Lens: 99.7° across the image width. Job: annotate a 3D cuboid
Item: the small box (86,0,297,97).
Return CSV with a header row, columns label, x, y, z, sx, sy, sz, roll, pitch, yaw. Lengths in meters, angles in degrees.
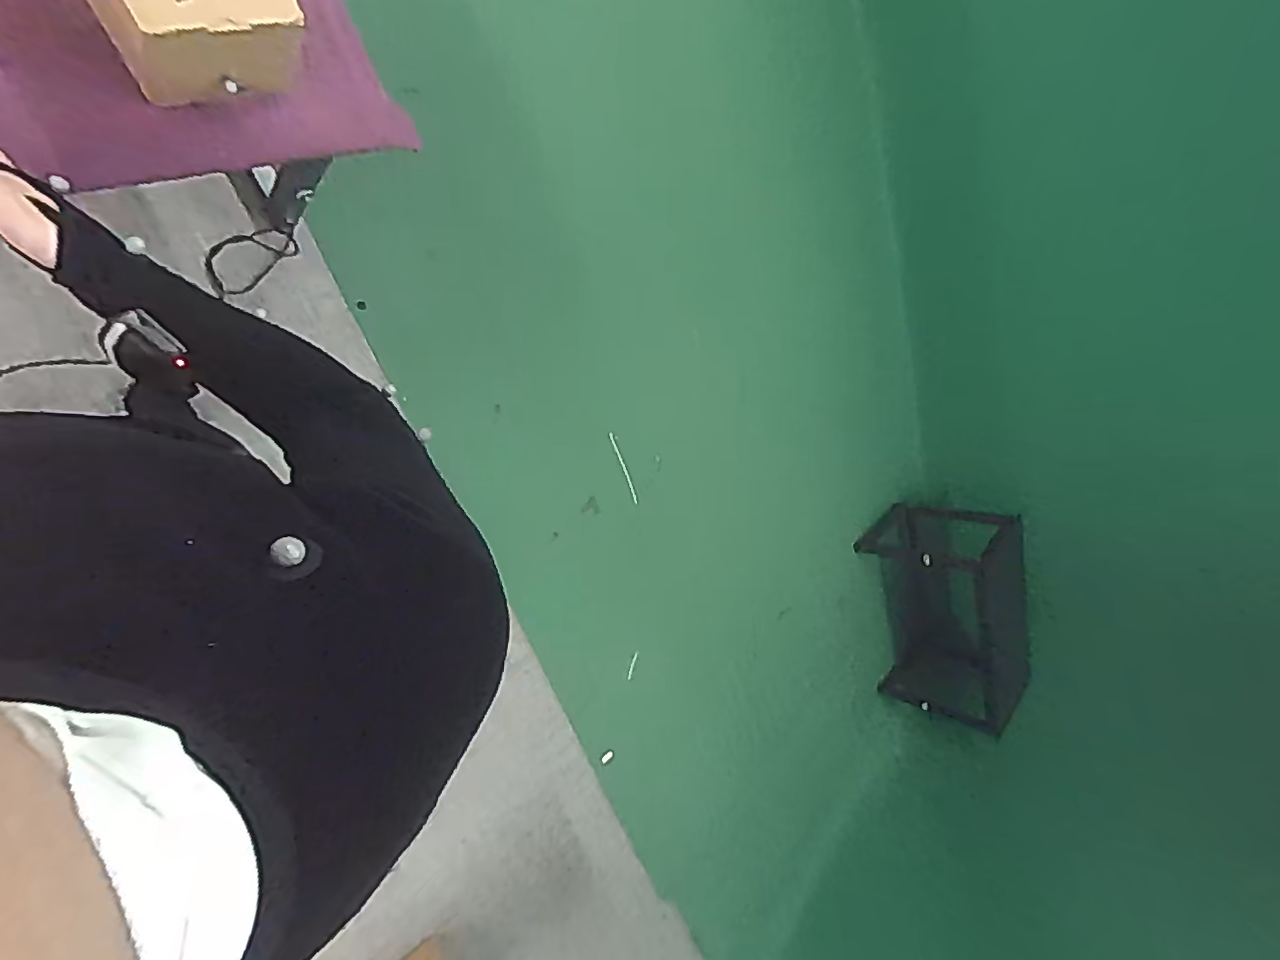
label,x,y,z,sx,sy,sz,roll,pitch,yaw
small box,-0.533,-0.577,0.614,0.168,0.176,0.179,-36,118,-31
